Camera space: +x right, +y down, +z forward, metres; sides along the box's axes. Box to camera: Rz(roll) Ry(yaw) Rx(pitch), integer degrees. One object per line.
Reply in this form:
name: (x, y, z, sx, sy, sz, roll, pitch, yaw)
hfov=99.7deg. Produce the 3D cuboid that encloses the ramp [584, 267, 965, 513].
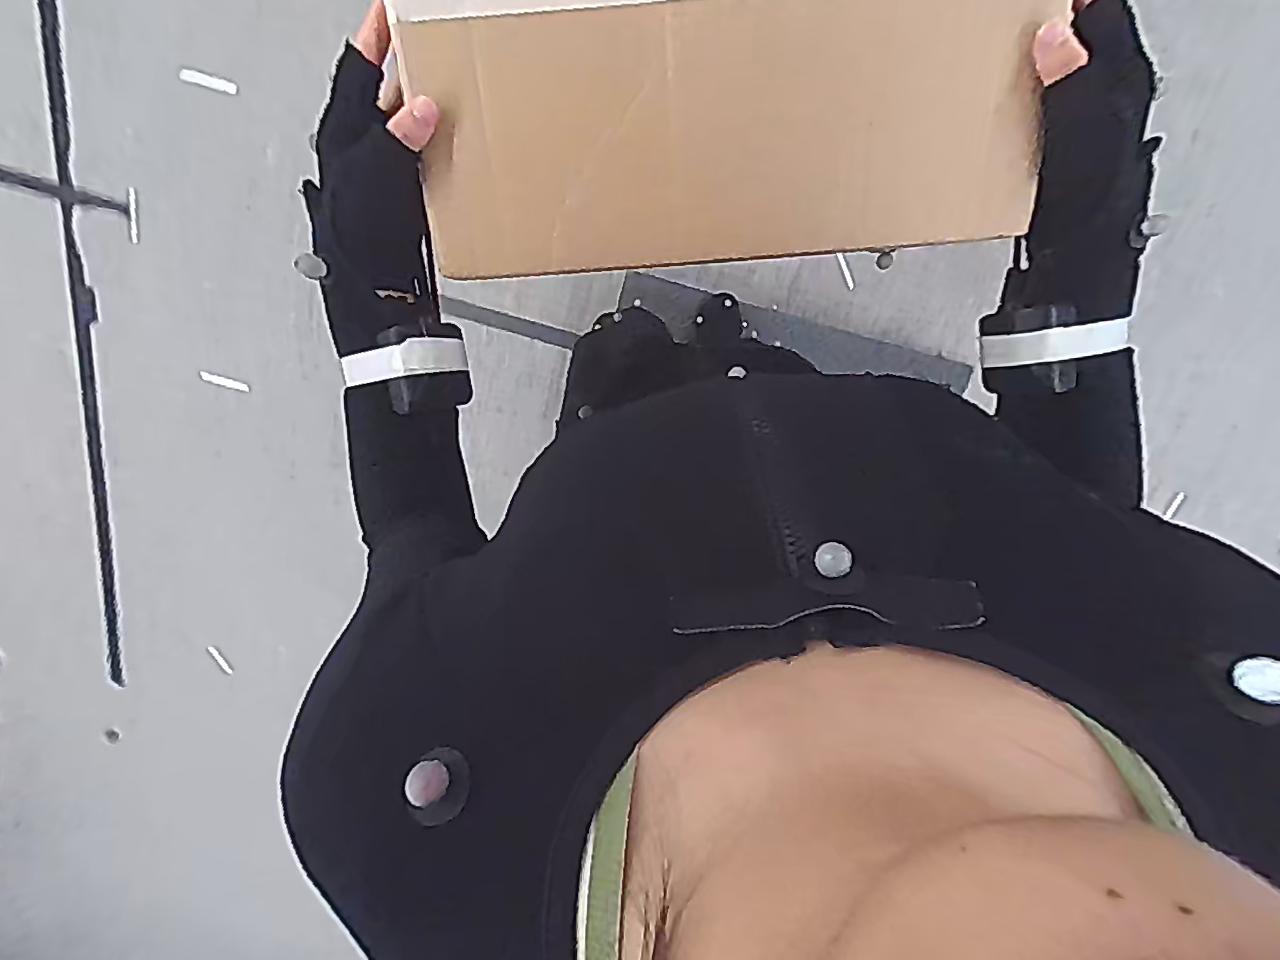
ramp: (0.379, -0.216, 1.504, 0.991, 0.206, 0.509, 13, 109, -1)

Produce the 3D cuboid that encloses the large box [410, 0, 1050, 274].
large box: (0.057, -0.362, 0.466, 0.408, 0.320, 0.320, -3, 112, 2)
